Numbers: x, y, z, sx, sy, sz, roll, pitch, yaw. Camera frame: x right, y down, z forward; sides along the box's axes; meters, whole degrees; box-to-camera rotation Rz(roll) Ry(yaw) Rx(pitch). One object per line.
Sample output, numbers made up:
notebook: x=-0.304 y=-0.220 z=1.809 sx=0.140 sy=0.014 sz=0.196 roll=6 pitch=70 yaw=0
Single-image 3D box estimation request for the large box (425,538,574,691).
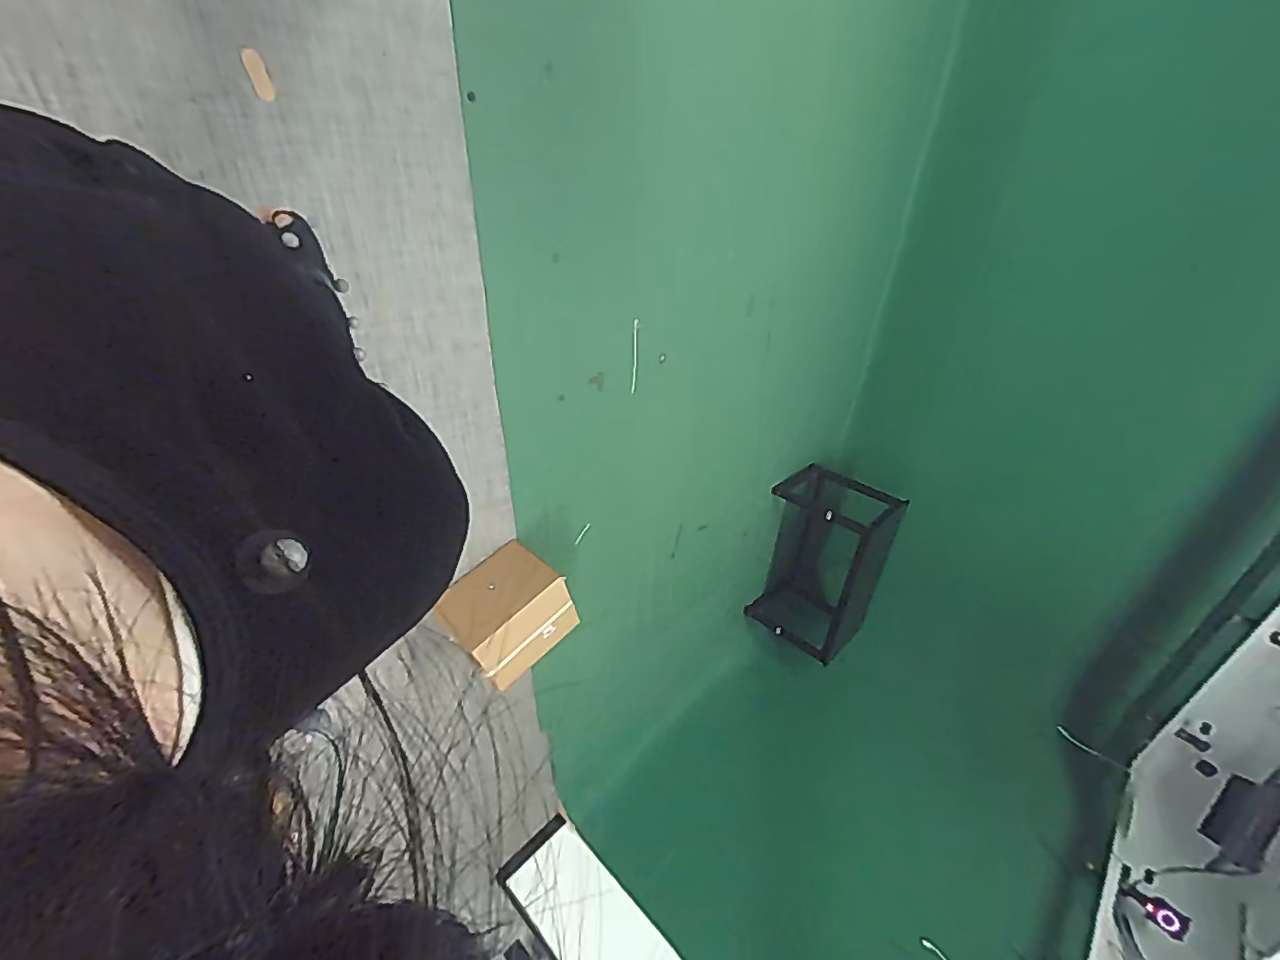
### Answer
large box: x=-0.527 y=0.504 z=2.070 sx=0.408 sy=0.320 sz=0.320 roll=-41 pitch=141 yaw=-29
